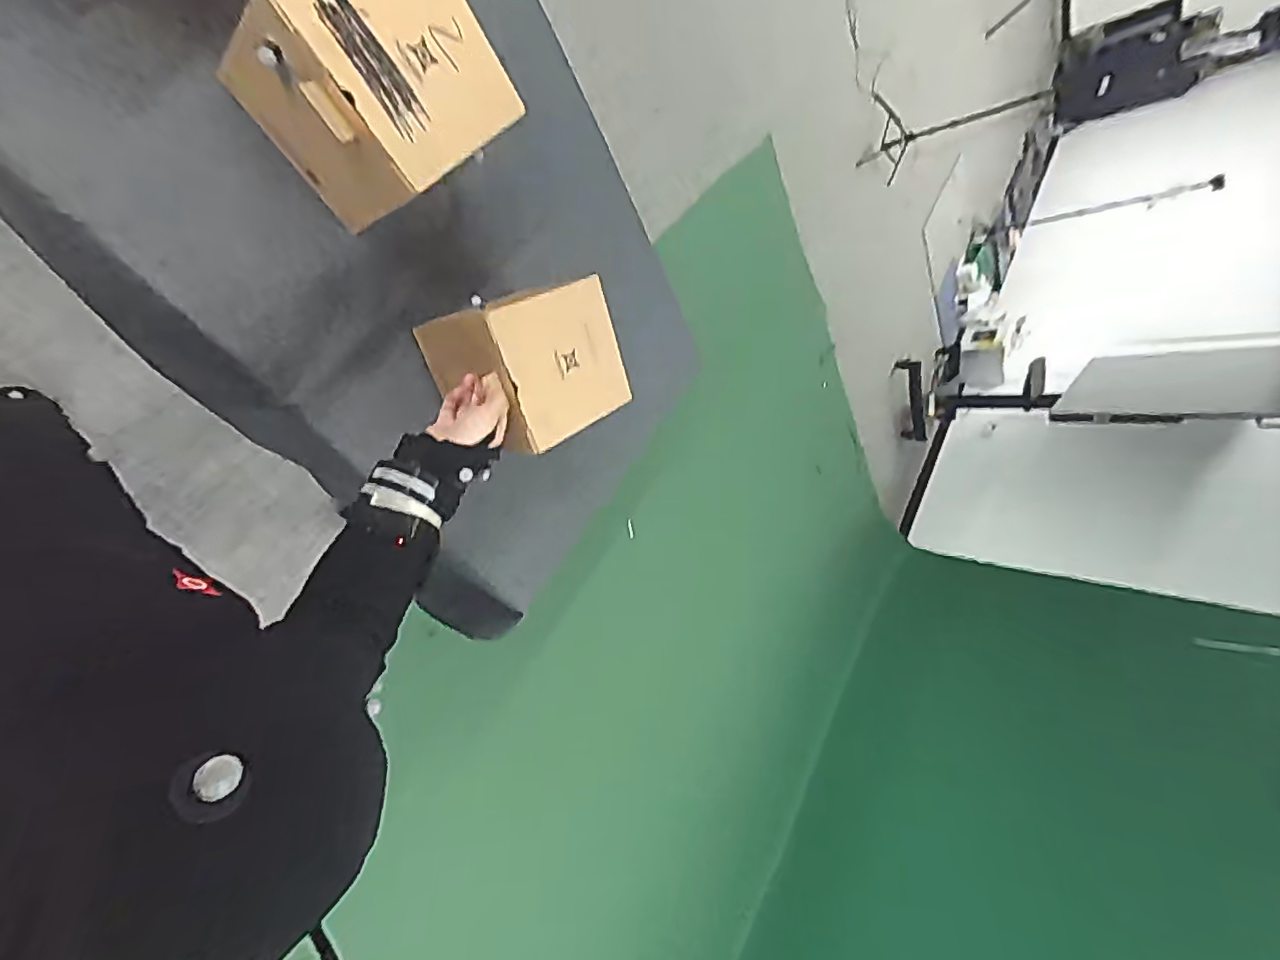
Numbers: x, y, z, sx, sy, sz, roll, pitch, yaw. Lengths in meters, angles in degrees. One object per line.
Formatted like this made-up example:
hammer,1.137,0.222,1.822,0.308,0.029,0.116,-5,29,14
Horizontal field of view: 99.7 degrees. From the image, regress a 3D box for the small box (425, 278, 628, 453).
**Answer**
small box,-0.149,-0.147,0.698,0.179,0.176,0.168,-38,123,-39
